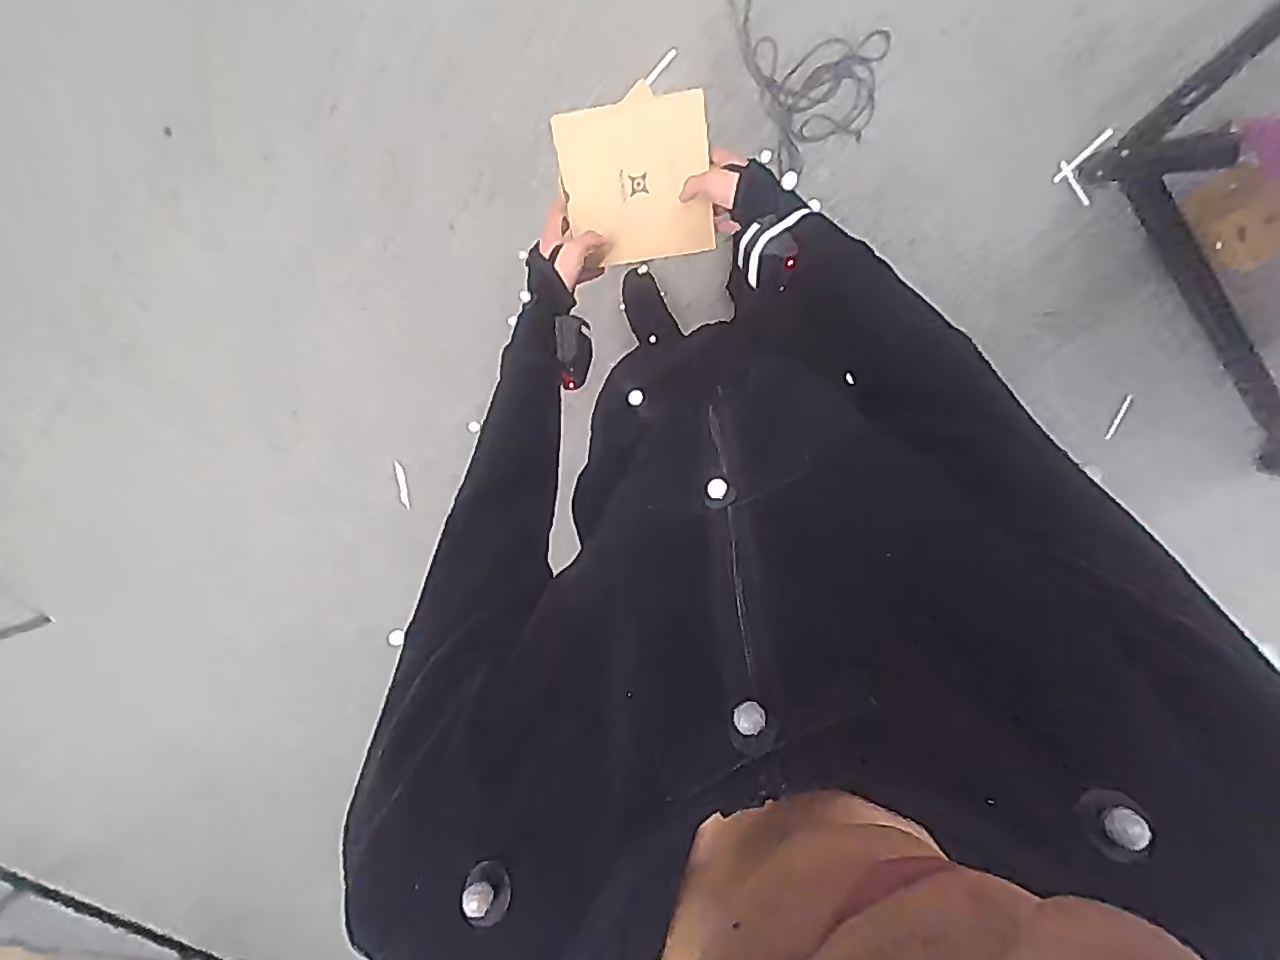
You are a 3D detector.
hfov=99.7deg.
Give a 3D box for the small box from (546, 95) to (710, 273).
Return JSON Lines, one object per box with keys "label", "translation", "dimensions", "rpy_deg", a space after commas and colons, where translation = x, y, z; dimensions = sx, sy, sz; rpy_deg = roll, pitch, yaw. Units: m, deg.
{"label": "small box", "translation": [-0.003, -0.364, 0.695], "dimensions": [0.179, 0.176, 0.168], "rpy_deg": [-5, 113, 7]}
